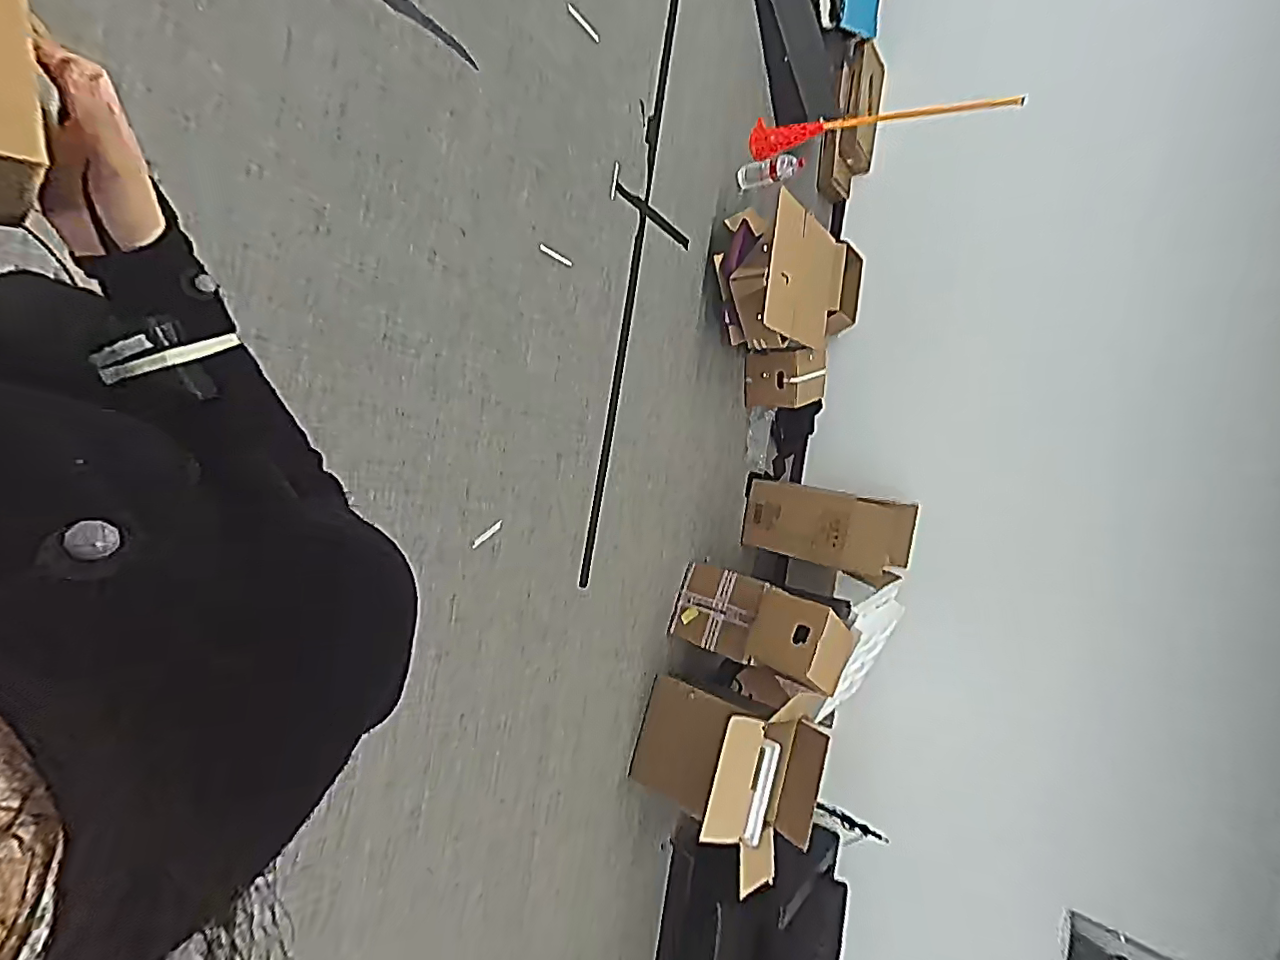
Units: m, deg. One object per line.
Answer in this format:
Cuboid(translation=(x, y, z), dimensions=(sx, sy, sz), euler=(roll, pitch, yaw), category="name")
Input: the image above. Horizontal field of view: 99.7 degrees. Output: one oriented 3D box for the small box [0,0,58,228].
Cuboid(translation=(-0.394, -0.234, 0.241), dimensions=(0.168, 0.176, 0.179), euler=(-8, 101, -52), category="small box")
